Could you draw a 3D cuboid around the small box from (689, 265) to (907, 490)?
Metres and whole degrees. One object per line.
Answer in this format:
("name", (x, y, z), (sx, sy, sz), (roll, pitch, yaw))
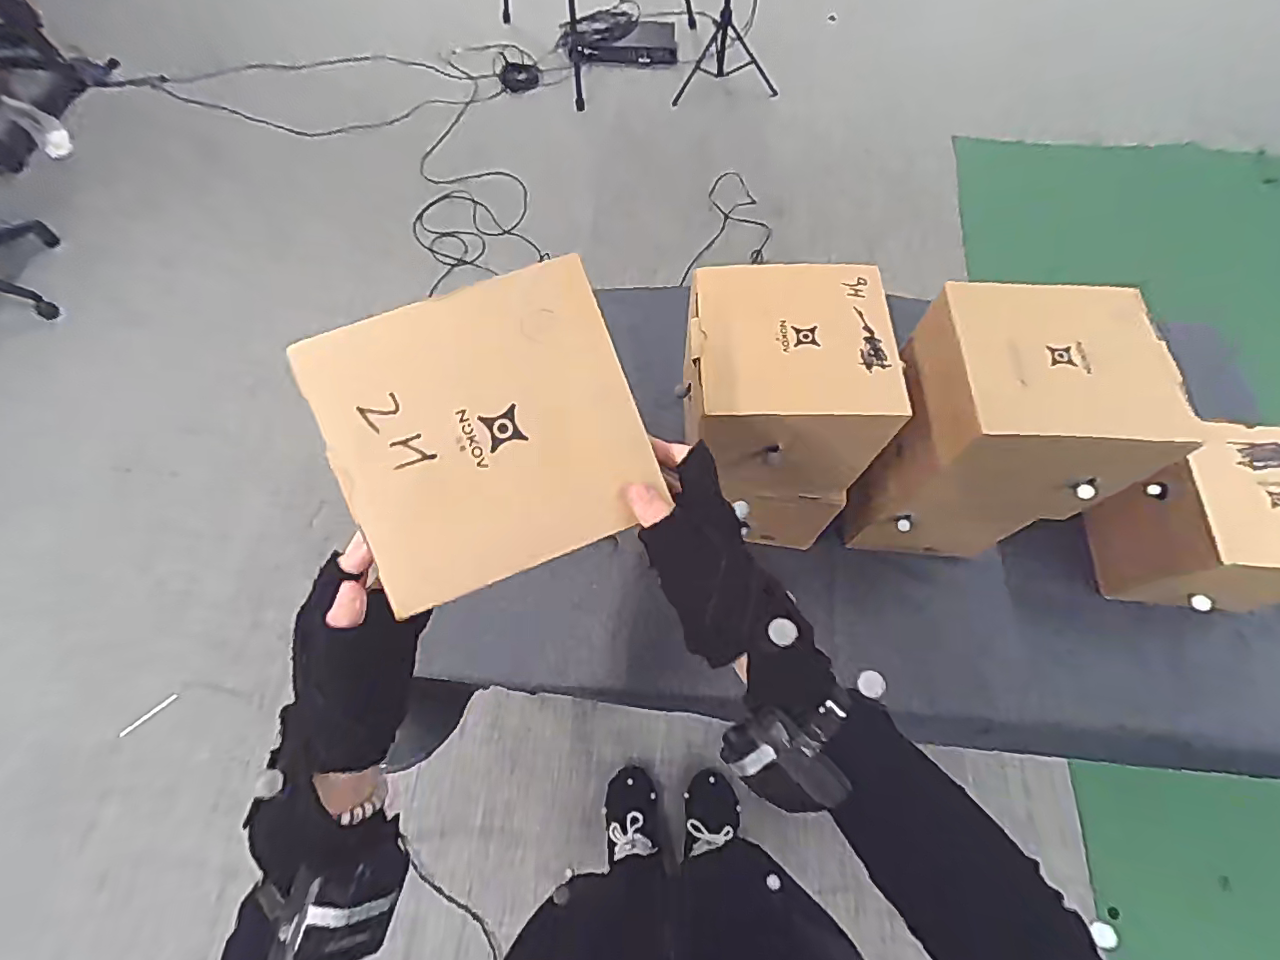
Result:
("small box", (0.140, -0.094, 0.556), (0.179, 0.176, 0.168), (-1, 66, 2))

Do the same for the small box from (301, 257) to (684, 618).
("small box", (-0.091, -0.028, 0.391), (0.179, 0.176, 0.168), (-22, 93, -7))
